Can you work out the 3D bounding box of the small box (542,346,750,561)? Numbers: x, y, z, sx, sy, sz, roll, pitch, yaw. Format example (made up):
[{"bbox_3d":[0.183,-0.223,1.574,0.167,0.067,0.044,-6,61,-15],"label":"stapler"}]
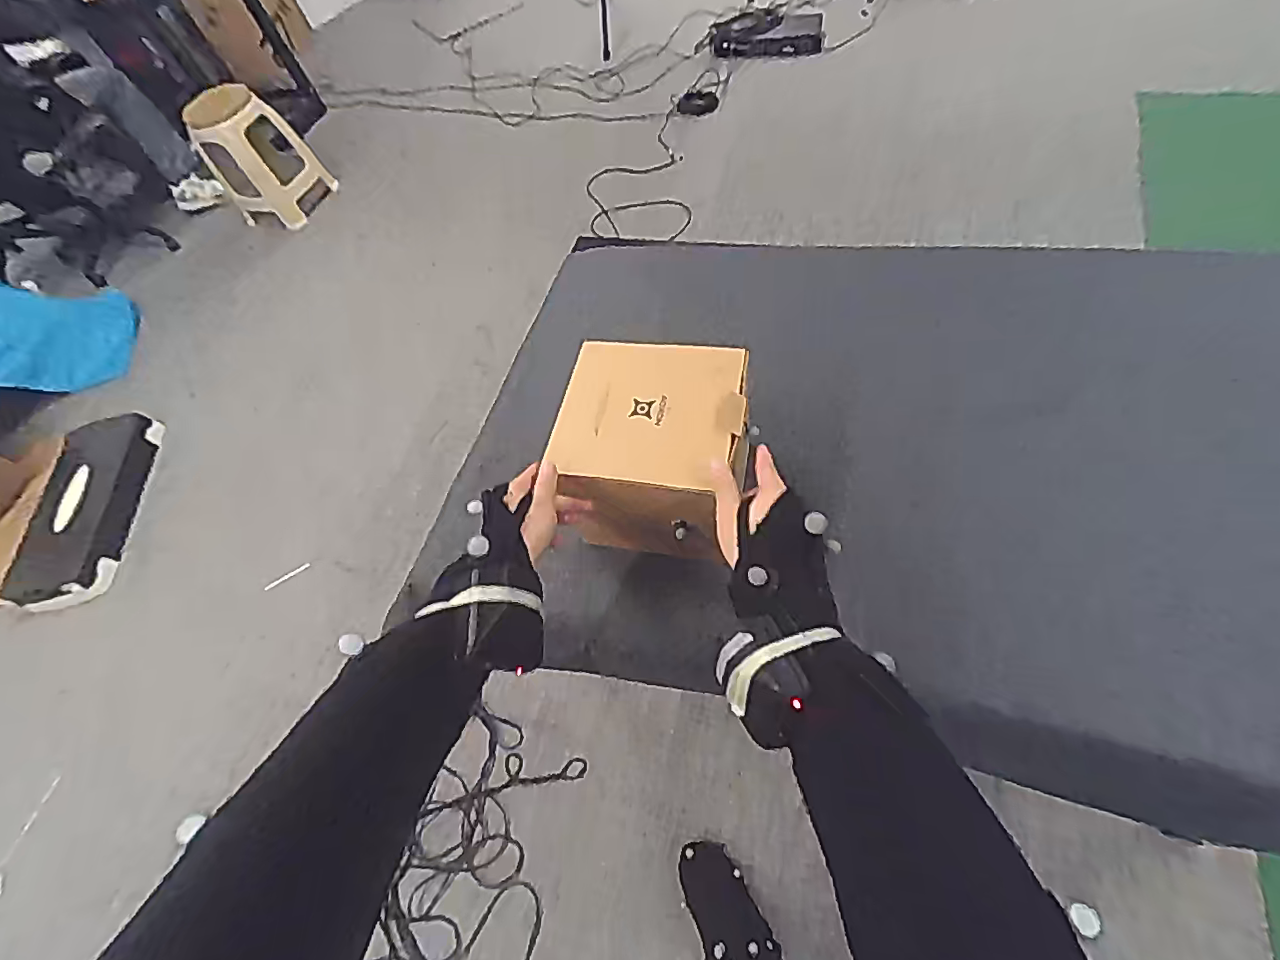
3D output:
[{"bbox_3d":[0.022,-0.023,0.584,0.179,0.176,0.168,5,60,15],"label":"small box"}]
